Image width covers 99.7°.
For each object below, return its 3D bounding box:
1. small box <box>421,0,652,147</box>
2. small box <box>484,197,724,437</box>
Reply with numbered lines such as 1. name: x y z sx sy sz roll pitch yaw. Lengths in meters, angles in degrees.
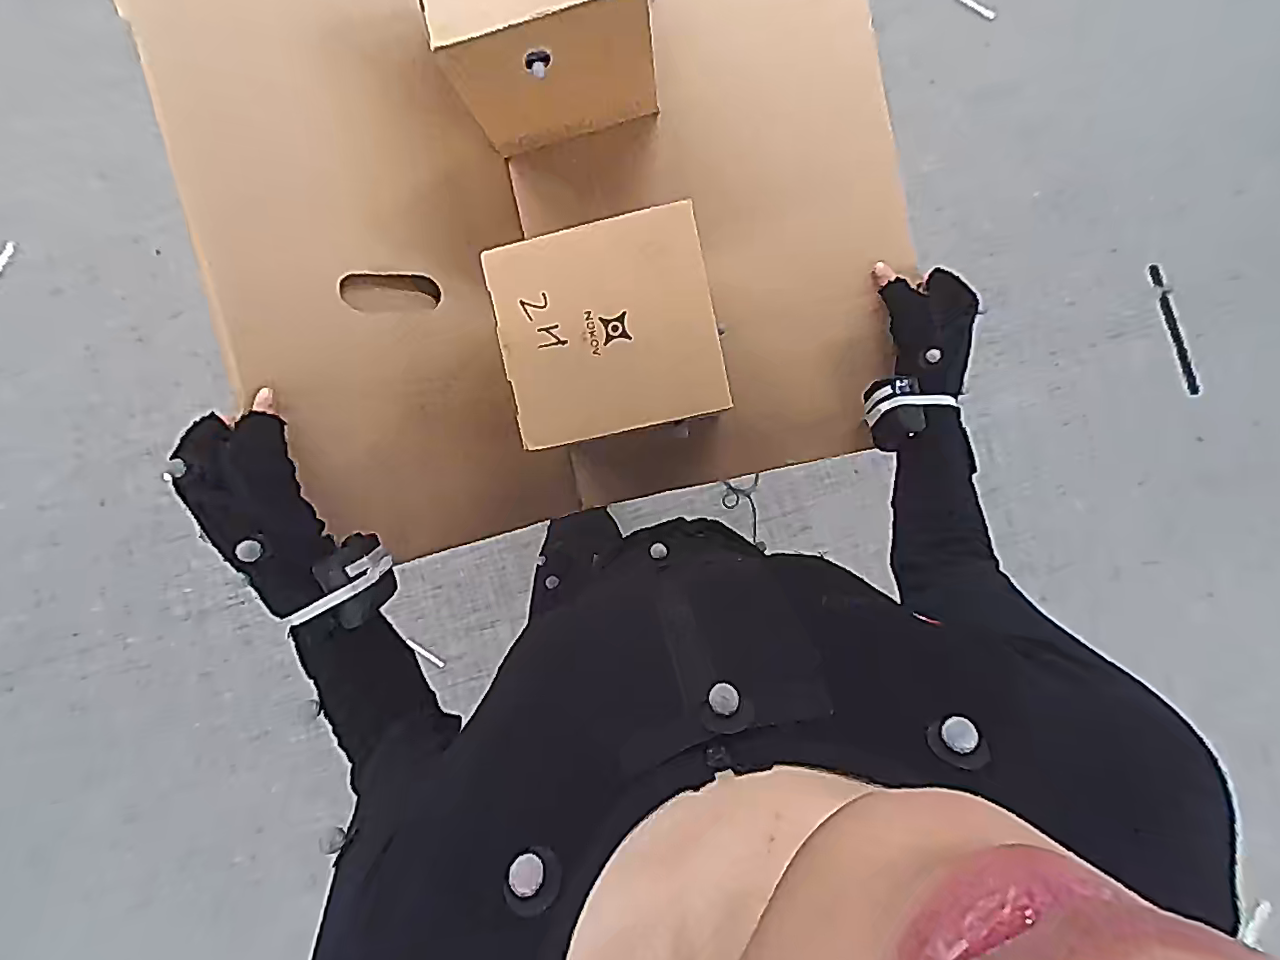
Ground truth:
1. small box: -0.094 -0.449 0.502 0.179 0.176 0.168 -13 94 6
2. small box: -0.024 -0.139 0.522 0.179 0.176 0.168 -11 94 6
